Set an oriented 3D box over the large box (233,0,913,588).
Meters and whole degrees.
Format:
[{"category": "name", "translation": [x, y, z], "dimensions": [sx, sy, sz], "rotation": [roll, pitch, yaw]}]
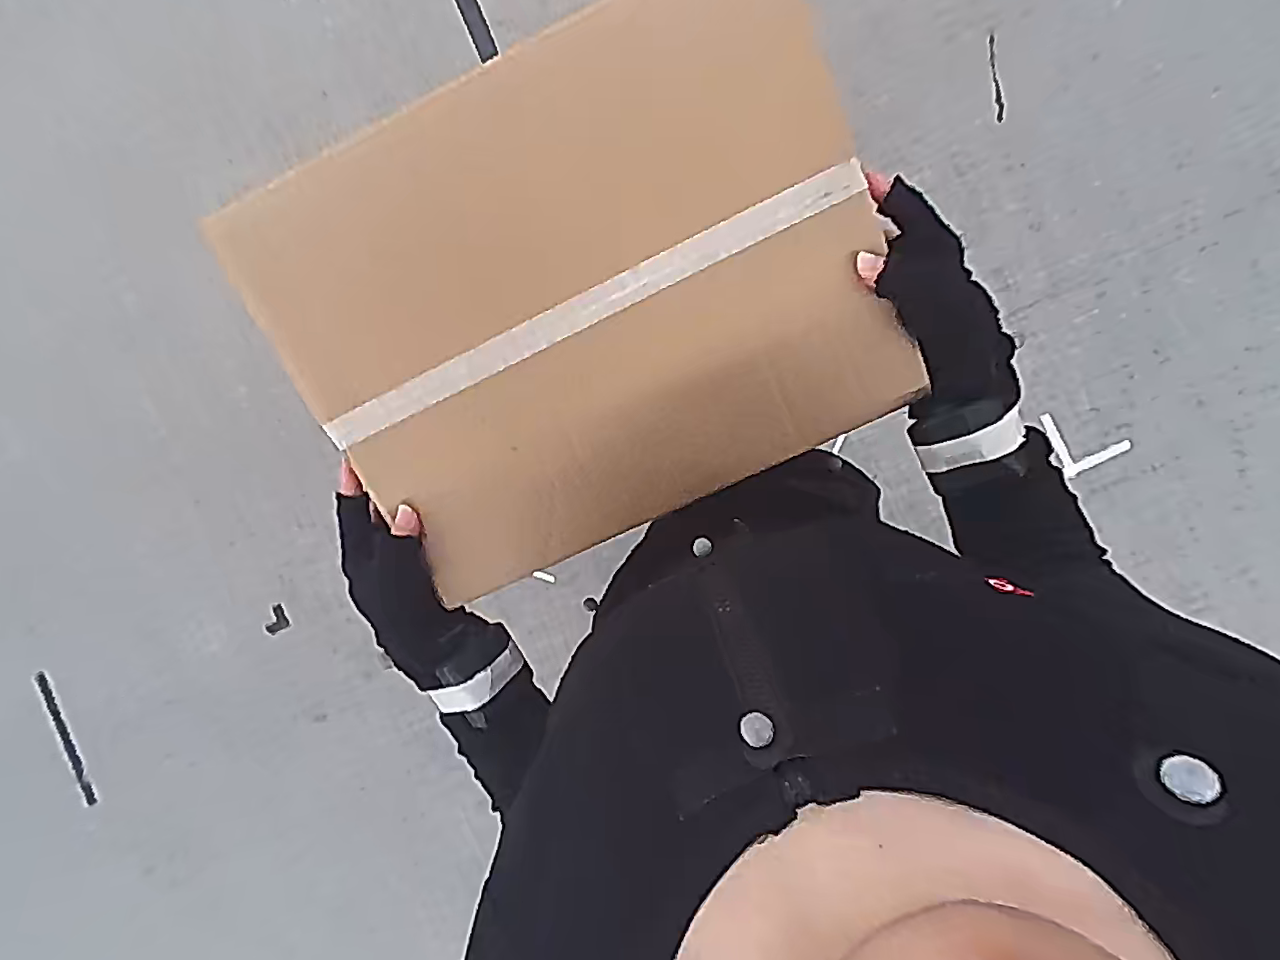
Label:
[{"category": "large box", "translation": [-0.042, -0.163, 0.526], "dimensions": [0.408, 0.320, 0.320], "rotation": [-25, 105, 5]}]
